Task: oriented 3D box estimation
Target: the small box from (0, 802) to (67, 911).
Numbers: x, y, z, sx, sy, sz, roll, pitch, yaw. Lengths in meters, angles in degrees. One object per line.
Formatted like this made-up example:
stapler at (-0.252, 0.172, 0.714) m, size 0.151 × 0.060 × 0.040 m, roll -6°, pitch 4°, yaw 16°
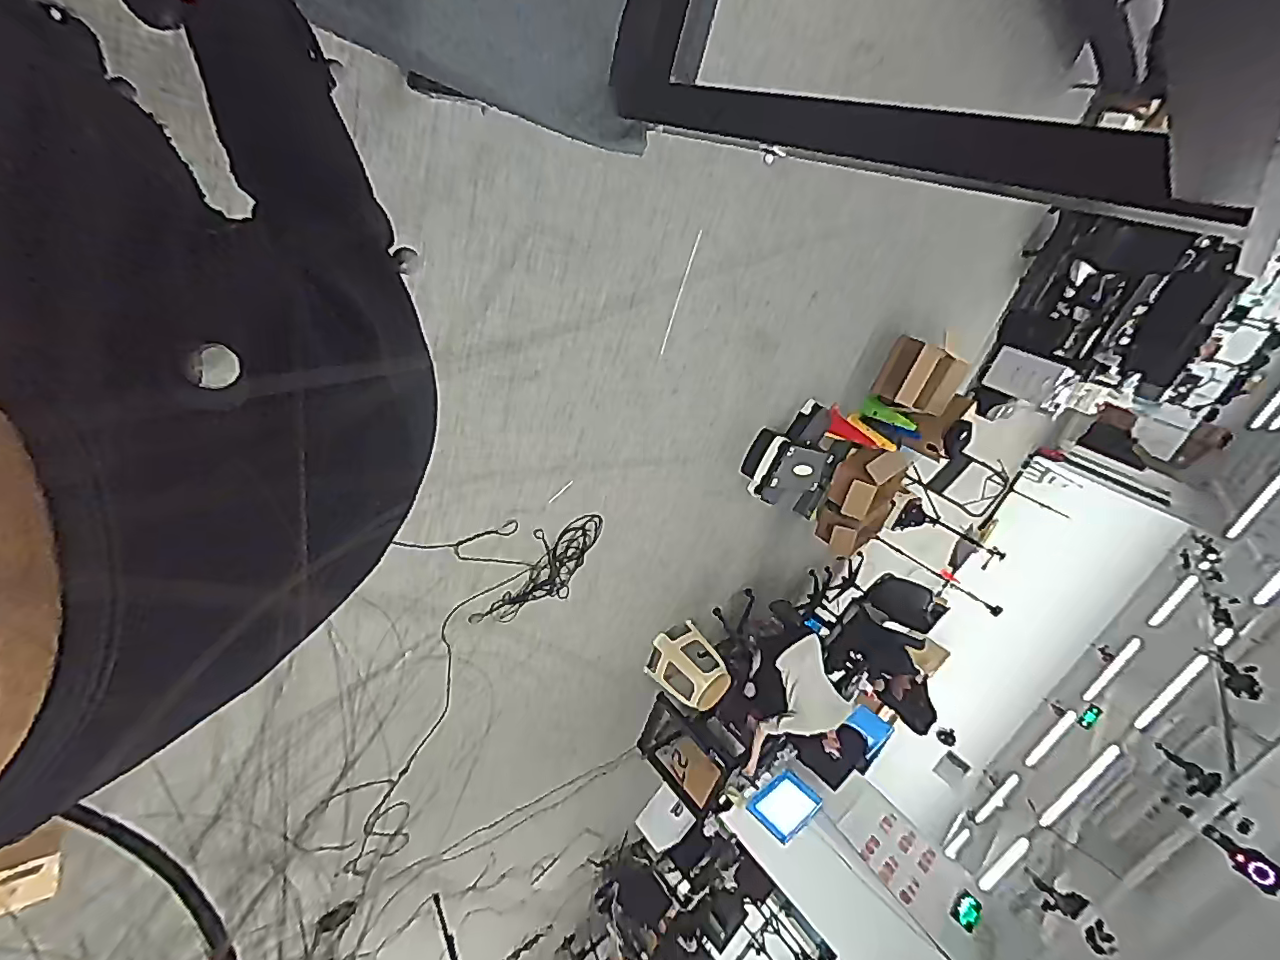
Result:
small box at (-1.630, 0.983, 1.415) m, size 0.168 × 0.176 × 0.179 m, roll 4°, pitch 118°, yaw -48°
